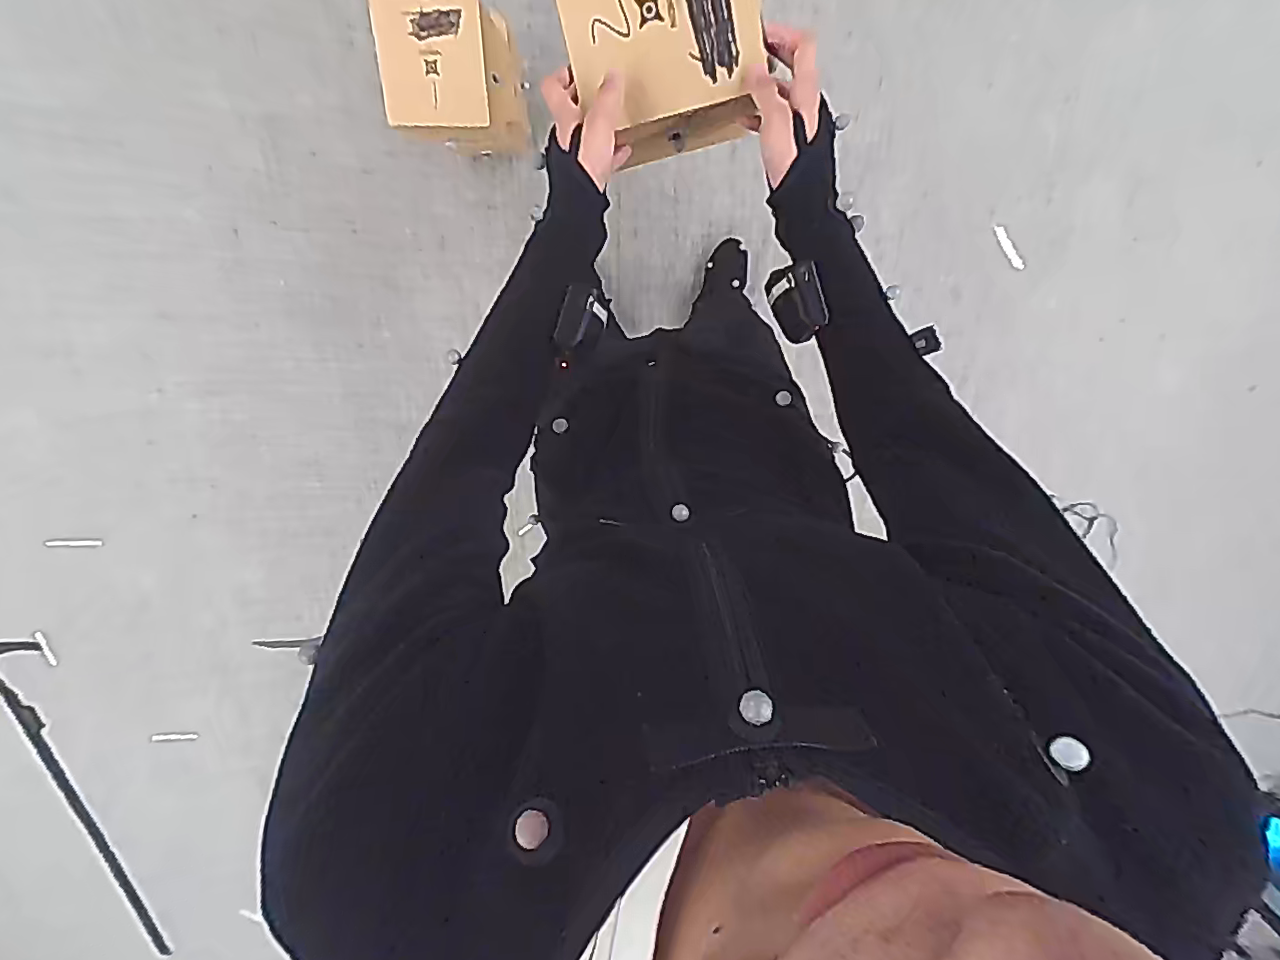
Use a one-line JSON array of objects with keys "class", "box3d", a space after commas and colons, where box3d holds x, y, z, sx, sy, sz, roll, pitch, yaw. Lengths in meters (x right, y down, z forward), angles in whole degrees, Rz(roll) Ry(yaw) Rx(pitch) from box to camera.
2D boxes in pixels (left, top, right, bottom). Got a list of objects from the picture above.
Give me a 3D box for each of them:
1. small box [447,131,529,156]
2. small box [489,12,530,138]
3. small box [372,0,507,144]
[{"class": "small box", "box3d": [-0.346, -0.835, 1.200, 0.168, 0.176, 0.179, -4, 115, -3]}, {"class": "small box", "box3d": [-0.321, -0.772, 1.051, 0.179, 0.176, 0.168, -5, 114, -2]}, {"class": "small box", "box3d": [-0.325, -0.683, 0.910, 0.168, 0.176, 0.179, -1, 115, -3]}]
